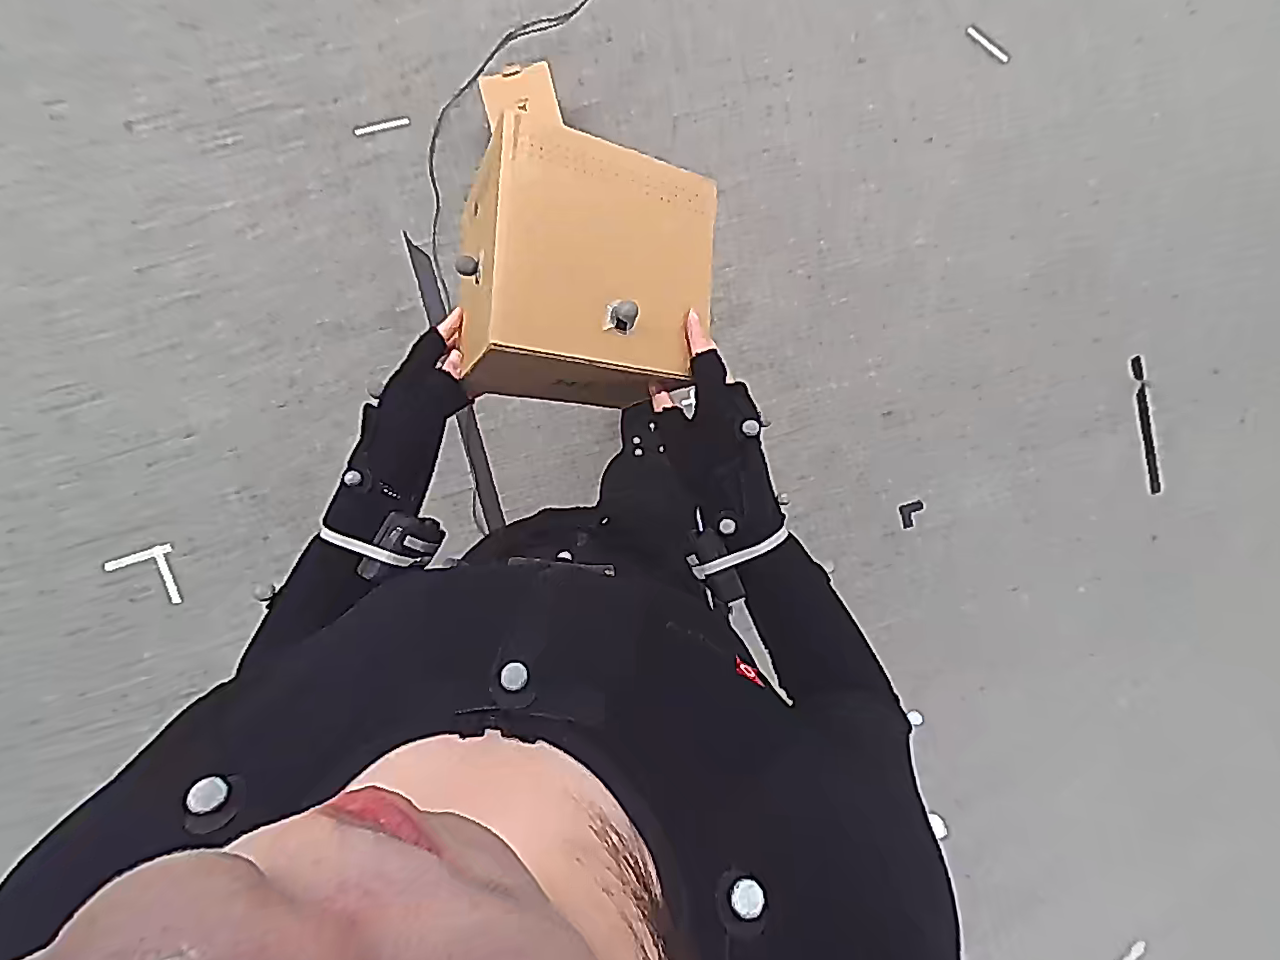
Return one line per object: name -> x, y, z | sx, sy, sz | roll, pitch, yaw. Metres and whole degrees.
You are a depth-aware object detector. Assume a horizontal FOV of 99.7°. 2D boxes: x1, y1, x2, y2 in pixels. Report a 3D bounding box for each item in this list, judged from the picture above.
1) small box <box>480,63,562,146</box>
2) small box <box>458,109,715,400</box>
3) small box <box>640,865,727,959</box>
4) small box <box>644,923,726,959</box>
small box -> -0.270, -0.853, 1.312 | 0.168, 0.176, 0.179 | -15, 96, -1
small box -> -0.051, -0.174, 0.467 | 0.179, 0.168, 0.176 | 3, 88, -27
small box -> 0.100, 1.063, 1.287 | 0.168, 0.176, 0.179 | -16, 96, -1
small box -> 0.110, 1.074, 1.122 | 0.168, 0.176, 0.179 | -18, 94, -1
